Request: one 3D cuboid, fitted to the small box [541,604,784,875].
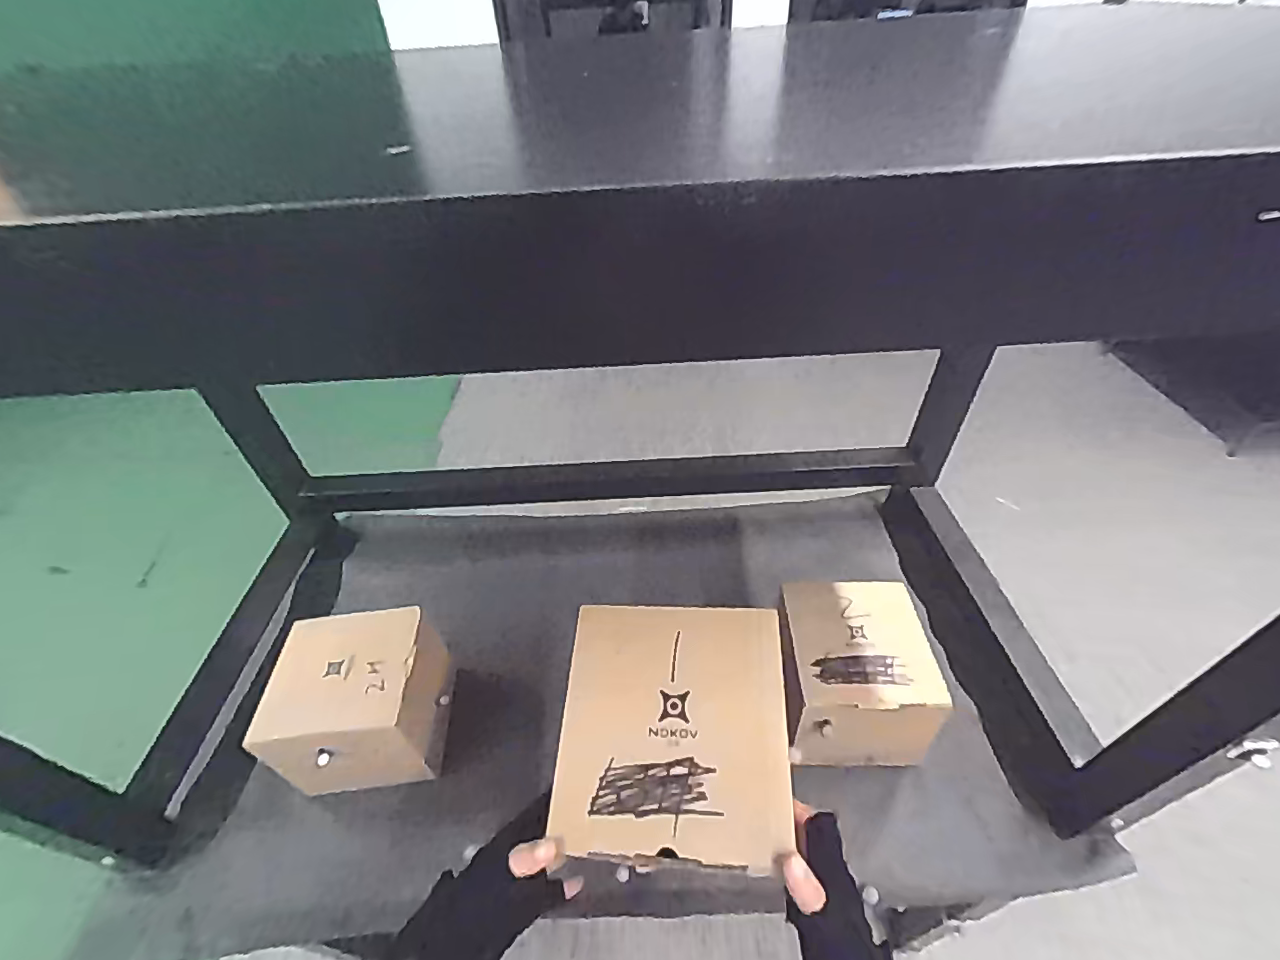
[{"bbox_3d":[0.031,0.223,0.463,0.168,0.176,0.179,0,53,9],"label":"small box"}]

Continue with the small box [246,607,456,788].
[{"bbox_3d":[-0.370,0.296,0.734,0.179,0.176,0.168,-6,43,-3],"label":"small box"}]
